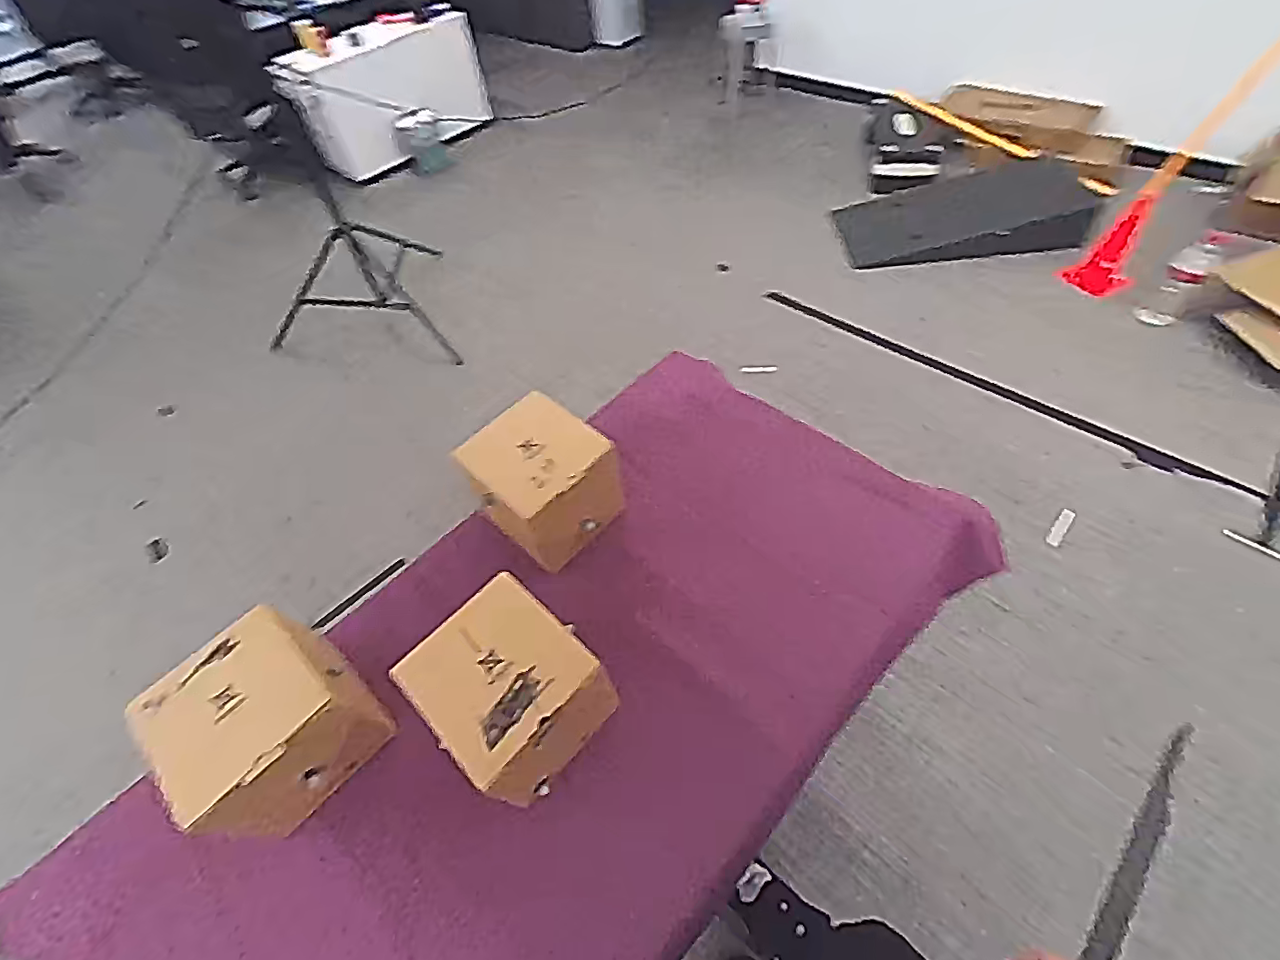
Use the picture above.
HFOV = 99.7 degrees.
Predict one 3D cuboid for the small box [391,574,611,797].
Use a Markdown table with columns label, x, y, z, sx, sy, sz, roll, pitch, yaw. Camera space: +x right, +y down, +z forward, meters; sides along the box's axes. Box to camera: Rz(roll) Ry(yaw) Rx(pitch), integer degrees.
| label | x | y | z | sx | sy | sz | roll | pitch | yaw |
| --- | --- | --- | --- | --- | --- | --- | --- | --- | --- |
| small box | -0.154 | 0.254 | 0.657 | 0.179 | 0.176 | 0.168 | 35 | 64 | 28 |

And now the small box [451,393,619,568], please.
| label | x | y | z | sx | sy | sz | roll | pitch | yaw |
| --- | --- | --- | --- | --- | --- | --- | --- | --- | --- |
| small box | -0.152 | 0.005 | 0.836 | 0.179 | 0.176 | 0.168 | 35 | 65 | 26 |

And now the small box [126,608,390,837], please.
| label | x | y | z | sx | sy | sz | roll | pitch | yaw |
| --- | --- | --- | --- | --- | --- | --- | --- | --- | --- |
| small box | -0.444 | 0.294 | 0.656 | 0.179 | 0.176 | 0.168 | 35 | 64 | 25 |
